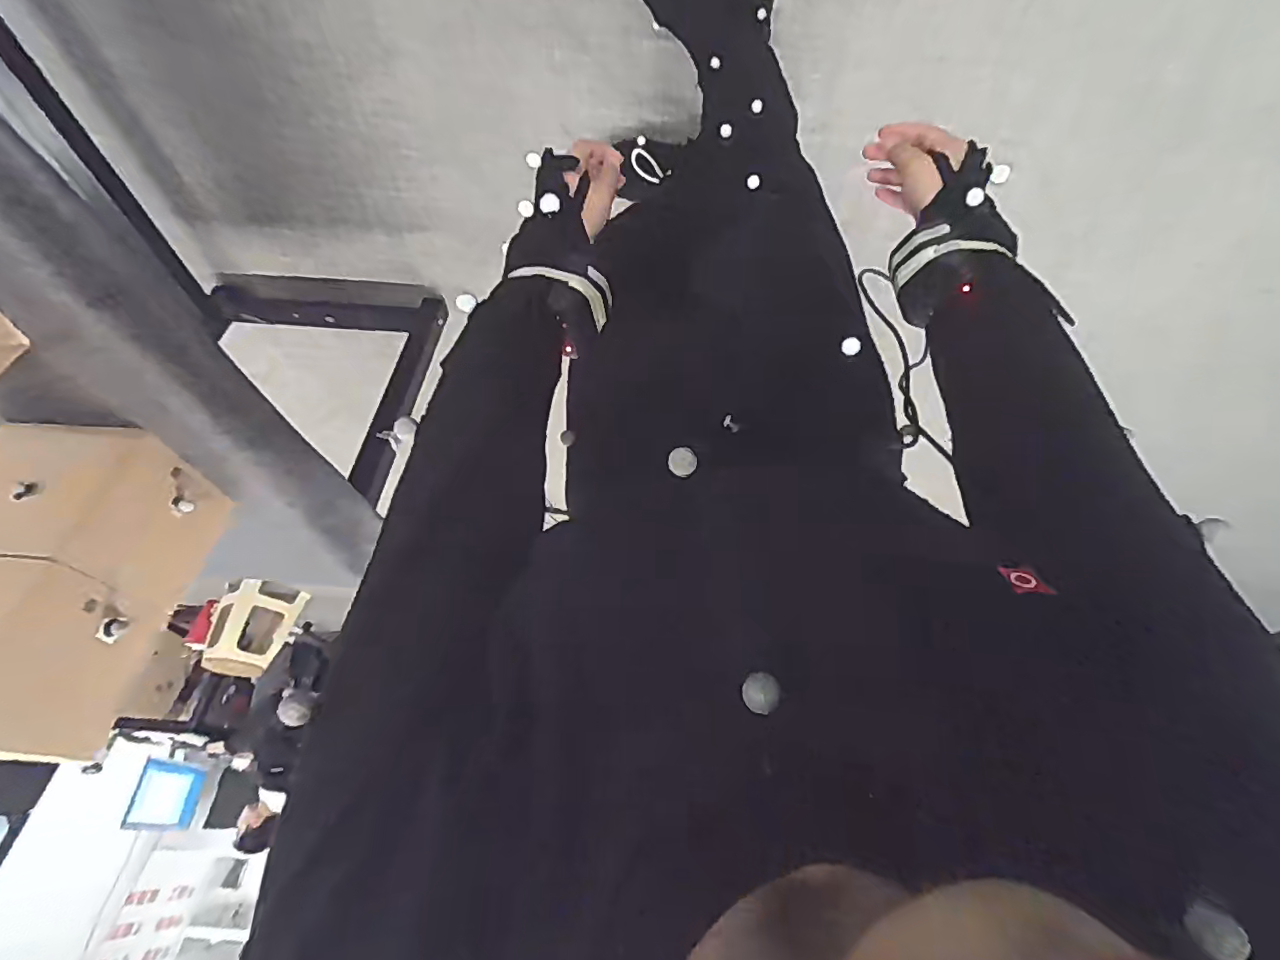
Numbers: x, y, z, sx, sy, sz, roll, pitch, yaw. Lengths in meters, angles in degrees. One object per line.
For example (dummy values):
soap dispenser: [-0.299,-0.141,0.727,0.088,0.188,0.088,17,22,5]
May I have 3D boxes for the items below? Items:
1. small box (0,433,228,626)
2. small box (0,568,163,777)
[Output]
small box: [-0.651,0.059,0.639,0.179,0.176,0.168,2,146,1]
small box: [-0.659,0.193,0.548,0.179,0.176,0.168,2,147,1]
